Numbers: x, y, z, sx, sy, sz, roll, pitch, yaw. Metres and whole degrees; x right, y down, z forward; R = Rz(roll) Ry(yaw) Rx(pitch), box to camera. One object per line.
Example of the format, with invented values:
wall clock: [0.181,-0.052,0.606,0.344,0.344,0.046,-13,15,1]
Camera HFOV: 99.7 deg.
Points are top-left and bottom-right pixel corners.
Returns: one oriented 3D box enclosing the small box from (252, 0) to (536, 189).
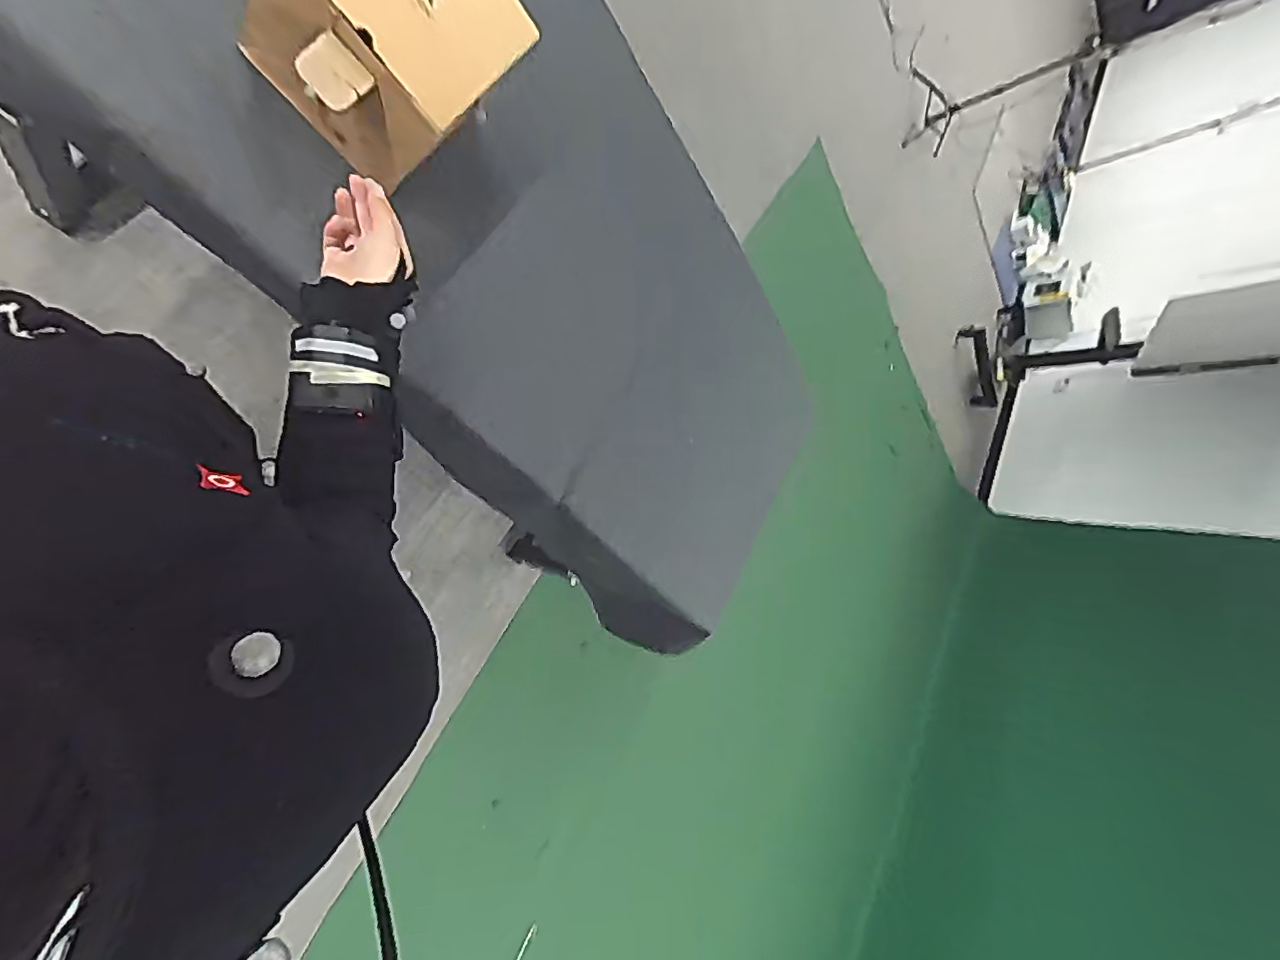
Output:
small box: [-0.245,-0.434,0.537,0.168,0.176,0.179,45,64,-35]
